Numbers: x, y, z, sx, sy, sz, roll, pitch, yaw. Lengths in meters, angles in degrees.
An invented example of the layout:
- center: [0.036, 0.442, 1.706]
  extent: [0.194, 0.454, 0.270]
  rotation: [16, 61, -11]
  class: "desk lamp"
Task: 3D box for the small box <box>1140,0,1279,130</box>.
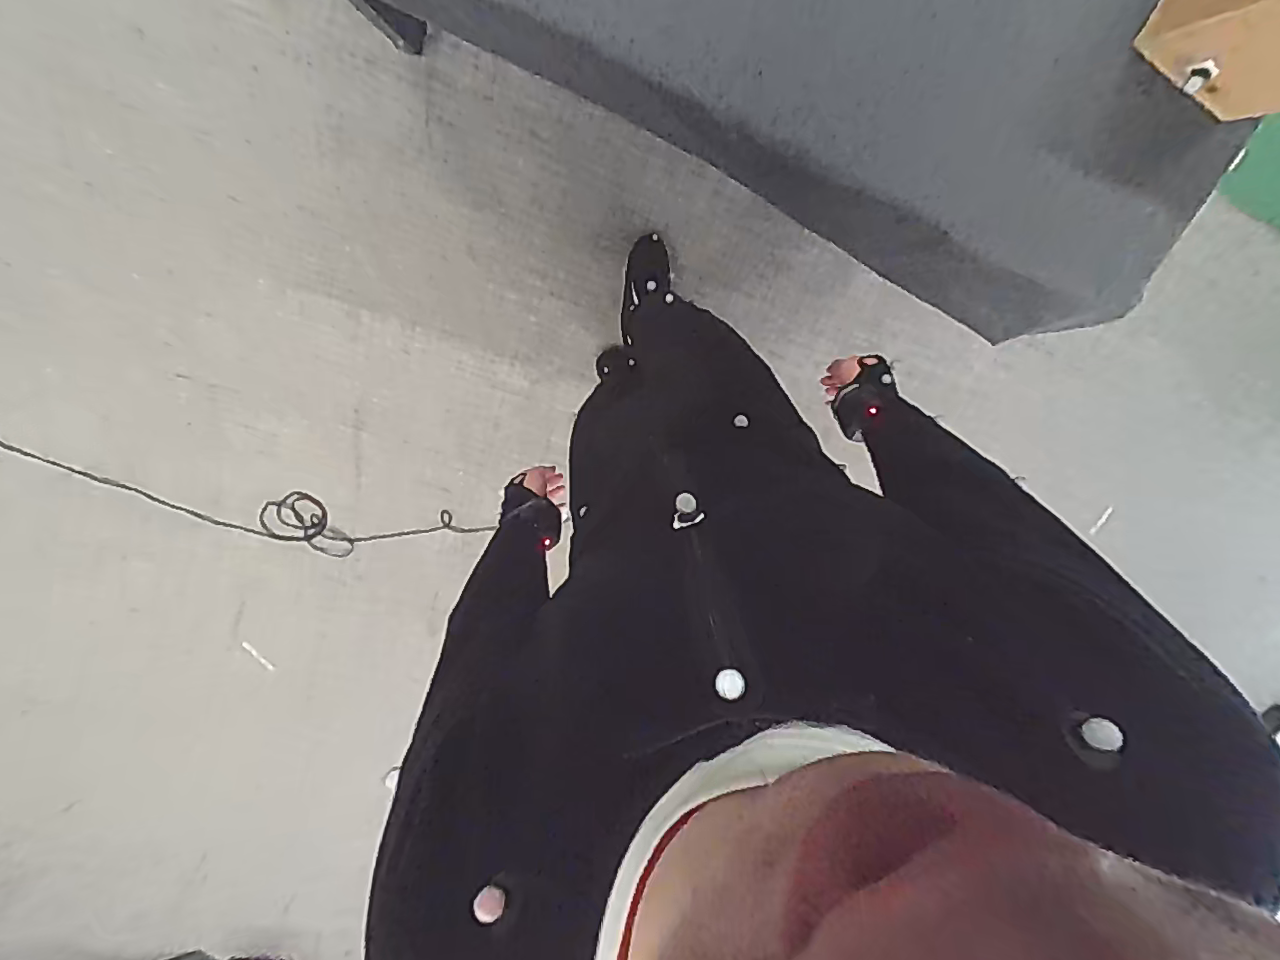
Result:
- center: [0.650, -0.471, 0.507]
  extent: [0.168, 0.176, 0.179]
  rotation: [24, 111, -13]
  class: "small box"
